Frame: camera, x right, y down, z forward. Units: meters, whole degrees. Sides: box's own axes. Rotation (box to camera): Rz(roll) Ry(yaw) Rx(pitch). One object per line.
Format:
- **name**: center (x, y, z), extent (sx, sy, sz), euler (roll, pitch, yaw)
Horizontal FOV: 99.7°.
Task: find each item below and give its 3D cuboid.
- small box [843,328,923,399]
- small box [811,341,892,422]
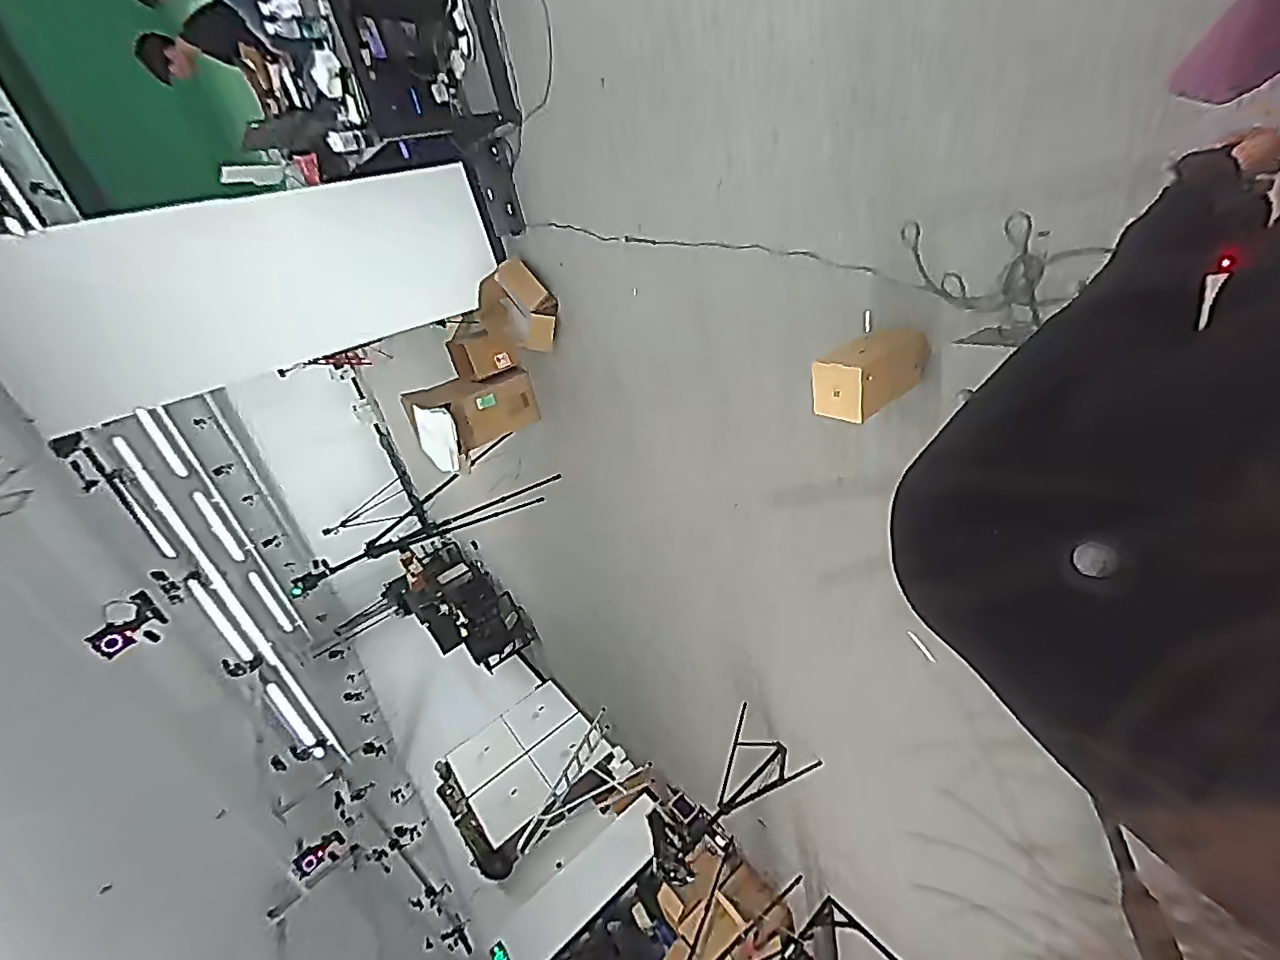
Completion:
- **small box**: center (0.760, -0.372, 1.704), extent (0.179, 0.176, 0.168), euler (23, 135, 48)
- **small box**: center (0.637, -0.300, 1.628), extent (0.168, 0.176, 0.179), euler (25, 136, 48)
